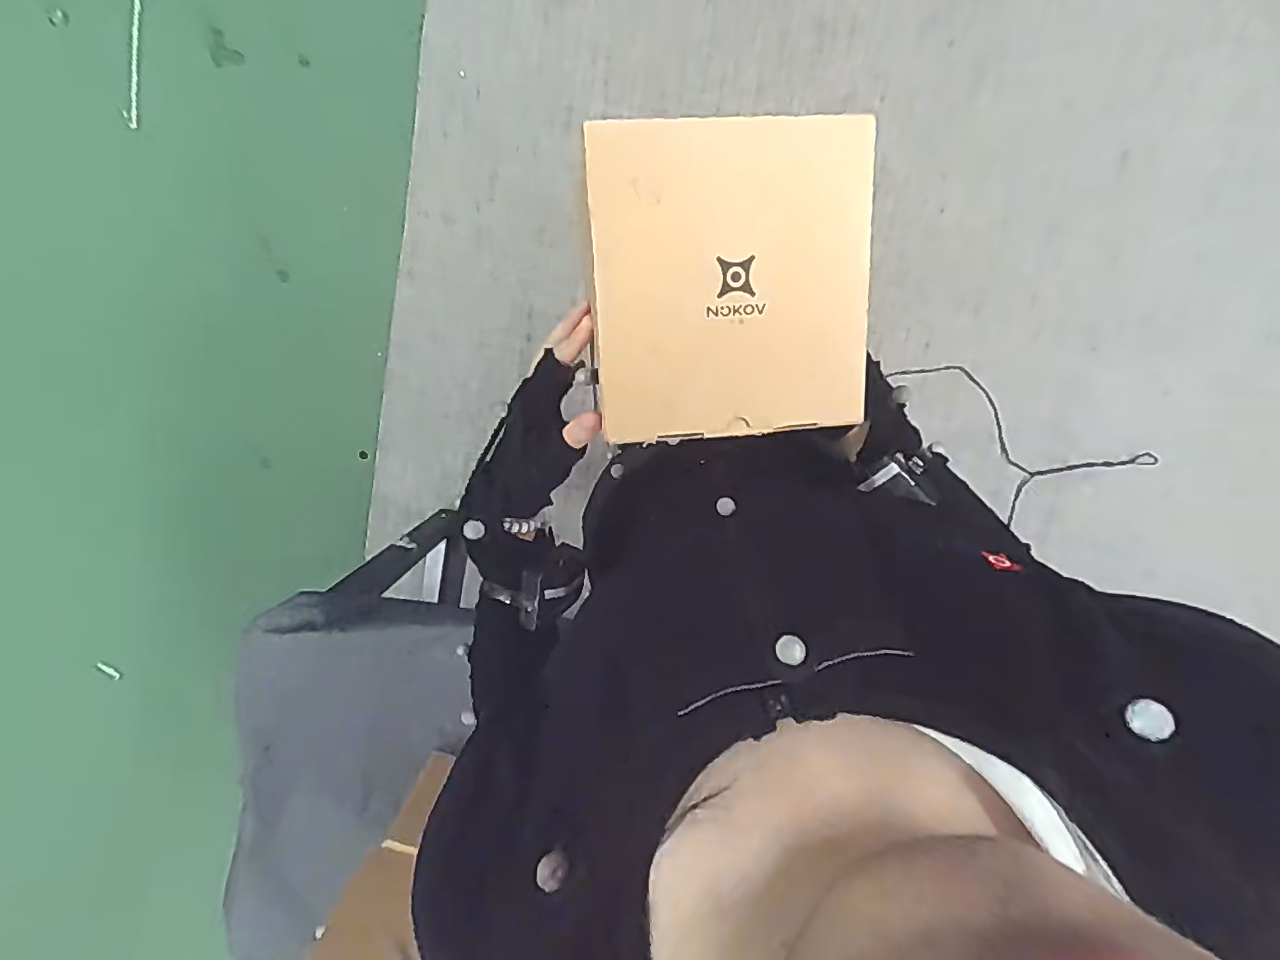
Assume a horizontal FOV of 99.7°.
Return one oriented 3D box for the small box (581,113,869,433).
[{"bbox_3d":[0.045,-0.137,0.398,0.168,0.176,0.179,-5,104,-5],"label":"small box"}]
